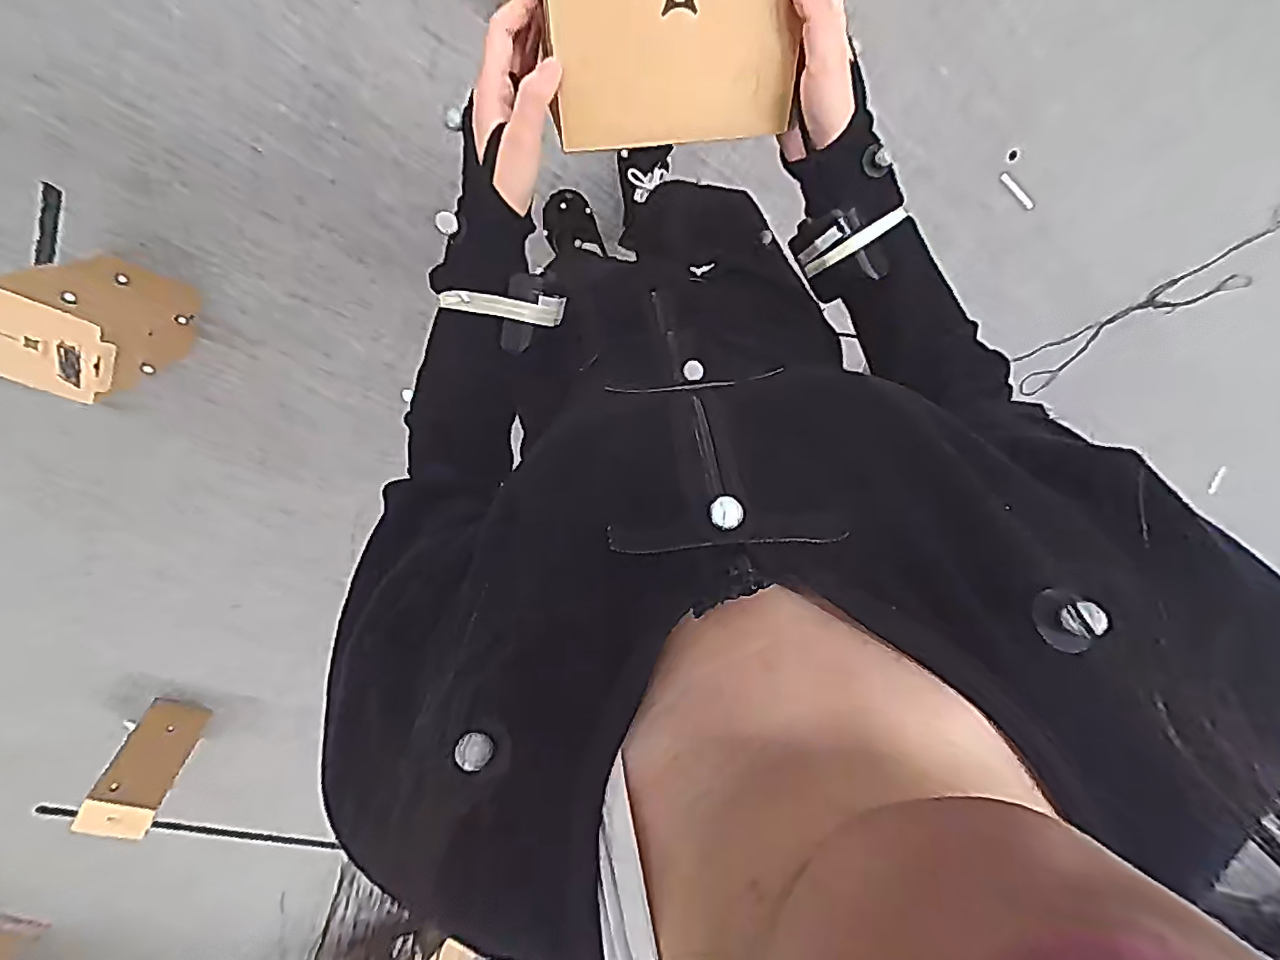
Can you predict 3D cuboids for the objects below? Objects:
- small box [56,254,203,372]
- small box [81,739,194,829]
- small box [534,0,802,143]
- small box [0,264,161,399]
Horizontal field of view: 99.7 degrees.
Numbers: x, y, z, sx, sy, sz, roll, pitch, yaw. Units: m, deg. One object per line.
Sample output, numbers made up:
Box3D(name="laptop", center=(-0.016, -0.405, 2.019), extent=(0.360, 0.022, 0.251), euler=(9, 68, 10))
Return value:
Box3D(name="small box", center=(-1.078, -0.361, 1.149), extent=(0.179, 0.176, 0.168), euler=(21, 114, -20))
Box3D(name="small box", center=(-1.506, 0.911, 1.630), extent=(0.179, 0.176, 0.168), euler=(28, 112, -25))
Box3D(name="small box", center=(0.009, -0.361, 0.377), extent=(0.168, 0.176, 0.179), euler=(-9, 136, -6))
Box3D(name="small box", center=(-1.048, -0.281, 1.008), extent=(0.179, 0.176, 0.168), euler=(22, 114, -21))
